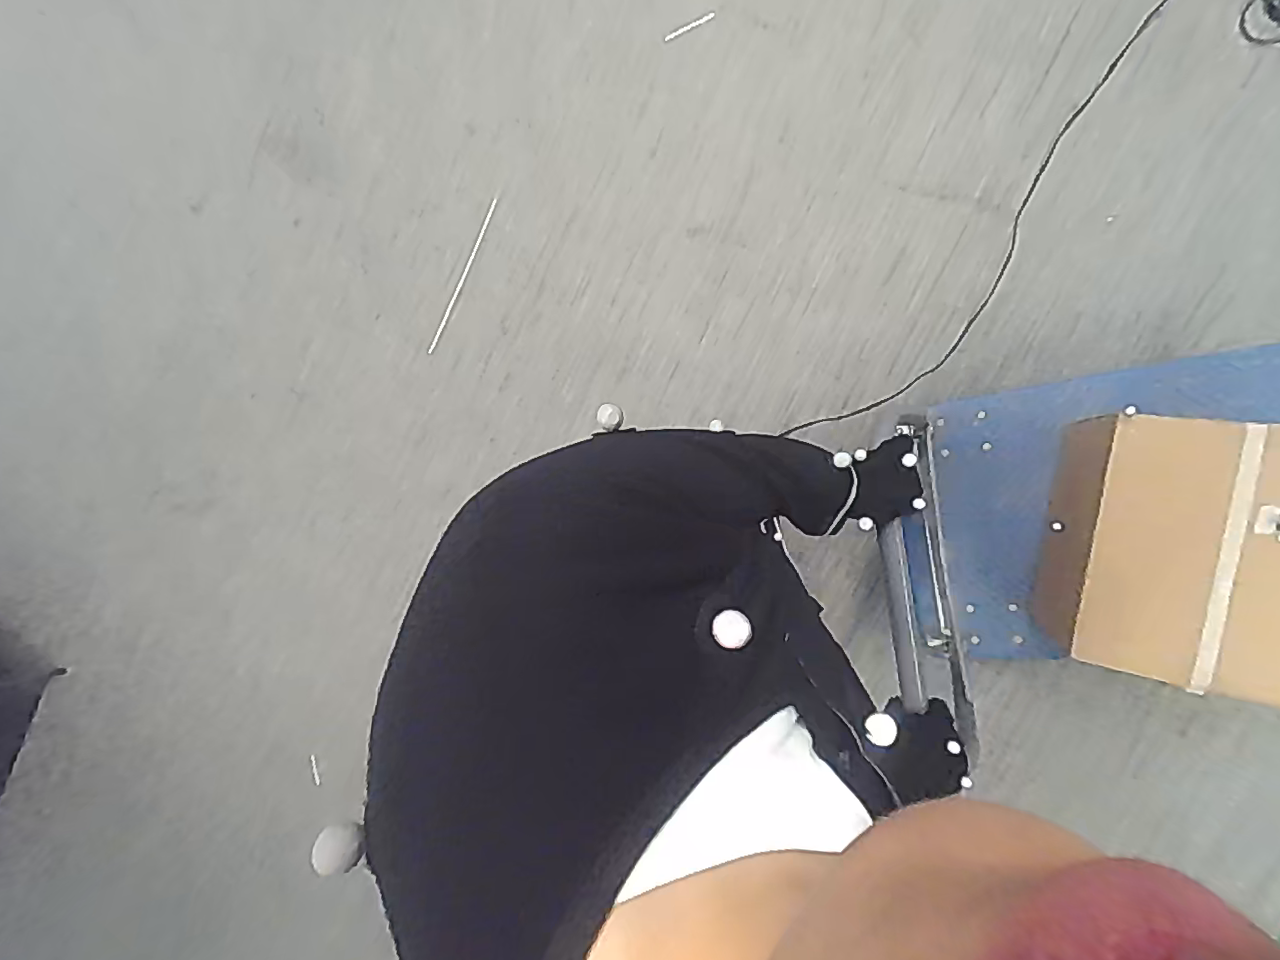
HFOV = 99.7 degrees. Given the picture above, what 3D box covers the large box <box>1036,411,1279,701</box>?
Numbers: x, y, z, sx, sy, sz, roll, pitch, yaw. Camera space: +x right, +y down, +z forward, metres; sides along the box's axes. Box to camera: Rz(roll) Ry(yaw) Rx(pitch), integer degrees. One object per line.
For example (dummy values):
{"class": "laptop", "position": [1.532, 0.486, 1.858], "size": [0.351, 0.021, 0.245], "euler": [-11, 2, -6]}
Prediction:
{"class": "large box", "position": [0.924, 0.107, 0.930], "size": [0.320, 0.320, 0.408], "euler": [10, 96, 25]}
